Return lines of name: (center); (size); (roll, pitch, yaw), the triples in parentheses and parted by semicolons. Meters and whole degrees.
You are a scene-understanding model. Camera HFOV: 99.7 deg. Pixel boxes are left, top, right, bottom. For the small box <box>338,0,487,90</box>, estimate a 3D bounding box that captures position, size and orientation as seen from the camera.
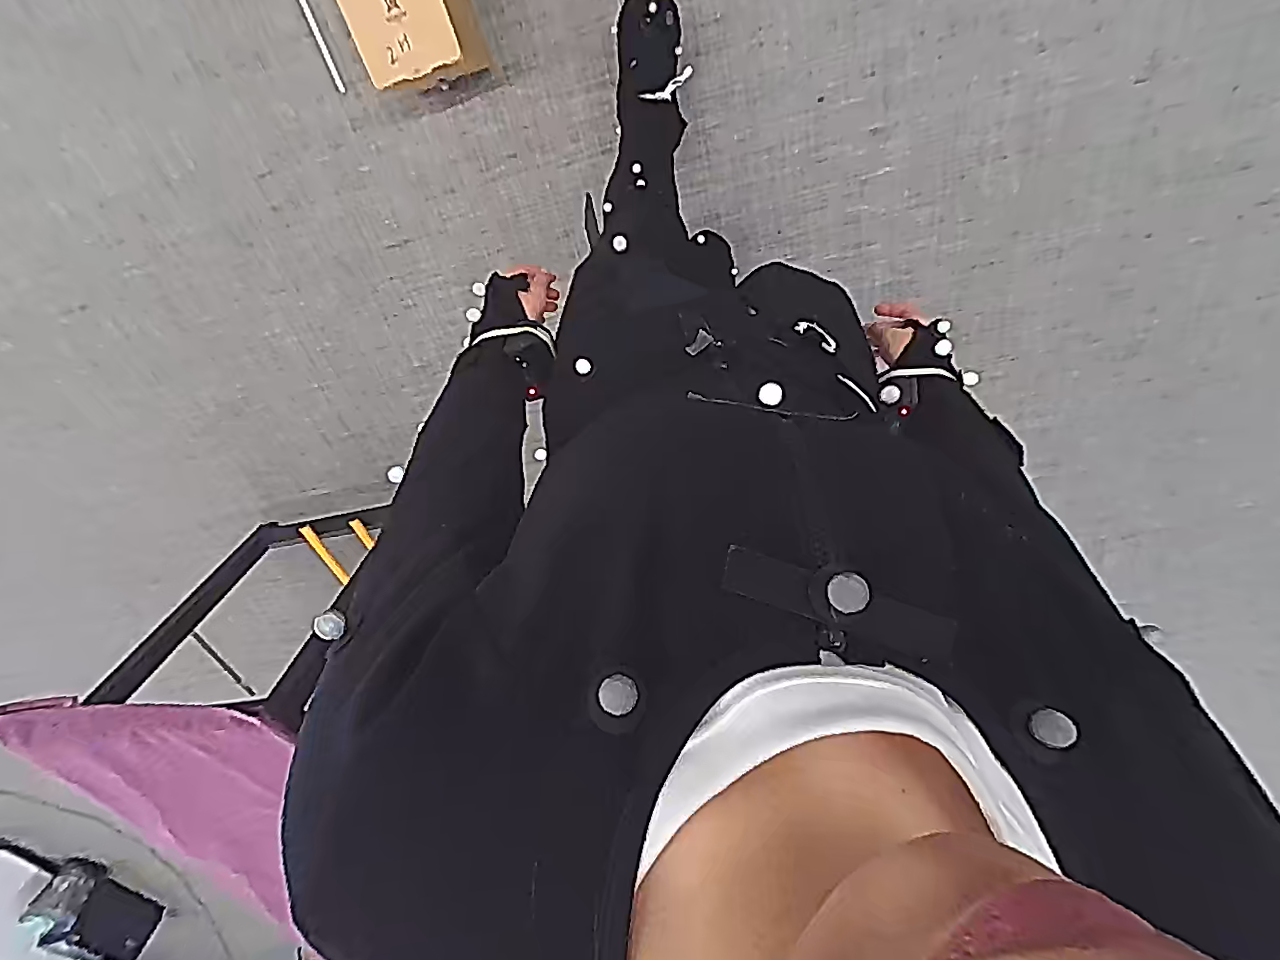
small box: (-0.382, -0.783, 0.908); (0.168, 0.176, 0.179); (-11, 123, 11)
